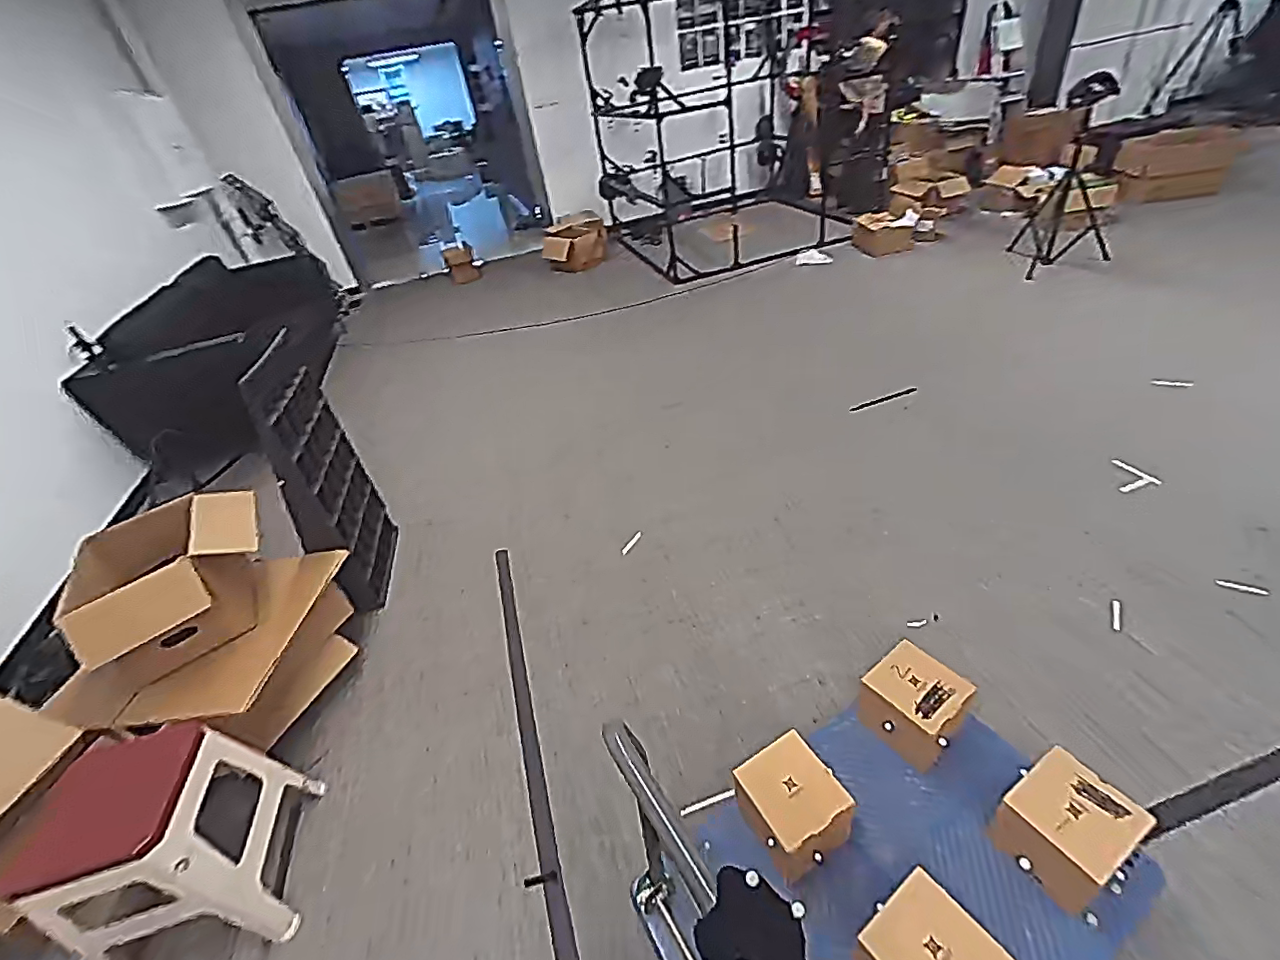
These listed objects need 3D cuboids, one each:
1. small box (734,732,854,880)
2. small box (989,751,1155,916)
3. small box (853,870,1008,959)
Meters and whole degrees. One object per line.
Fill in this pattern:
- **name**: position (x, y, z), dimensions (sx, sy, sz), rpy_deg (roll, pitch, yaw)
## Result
- **small box**: position (0.312, 0.676, 1.121), dimensions (0.168, 0.176, 0.179), rpy_deg (-25, 40, -18)
- **small box**: position (0.796, 0.661, 1.016), dimensions (0.179, 0.176, 0.168), rpy_deg (-27, 39, -19)
- **small box**: position (0.477, 0.811, 0.896), dimensions (0.168, 0.176, 0.179), rpy_deg (-28, 40, -22)
